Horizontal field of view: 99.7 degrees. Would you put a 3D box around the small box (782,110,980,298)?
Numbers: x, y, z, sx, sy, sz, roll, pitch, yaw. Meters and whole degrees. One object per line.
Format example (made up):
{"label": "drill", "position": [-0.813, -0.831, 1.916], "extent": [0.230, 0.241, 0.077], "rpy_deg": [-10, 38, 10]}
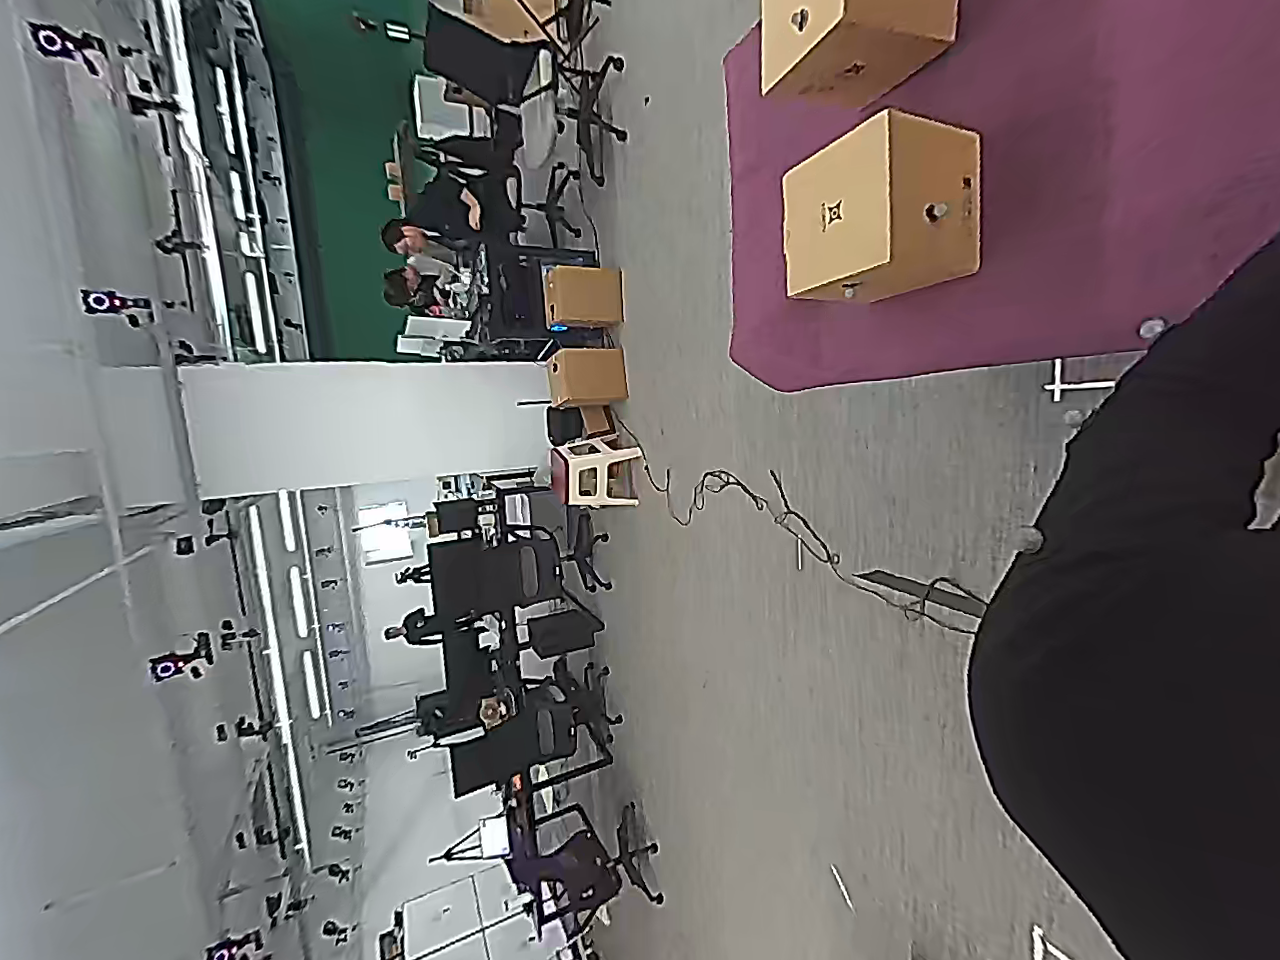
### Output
{"label": "small box", "position": [0.311, -0.340, 0.703], "extent": [0.179, 0.176, 0.168], "rpy_deg": [-171, 75, -65]}

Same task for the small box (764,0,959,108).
{"label": "small box", "position": [0.270, -0.612, 0.683], "extent": [0.179, 0.168, 0.176], "rpy_deg": [-153, 60, -69]}
